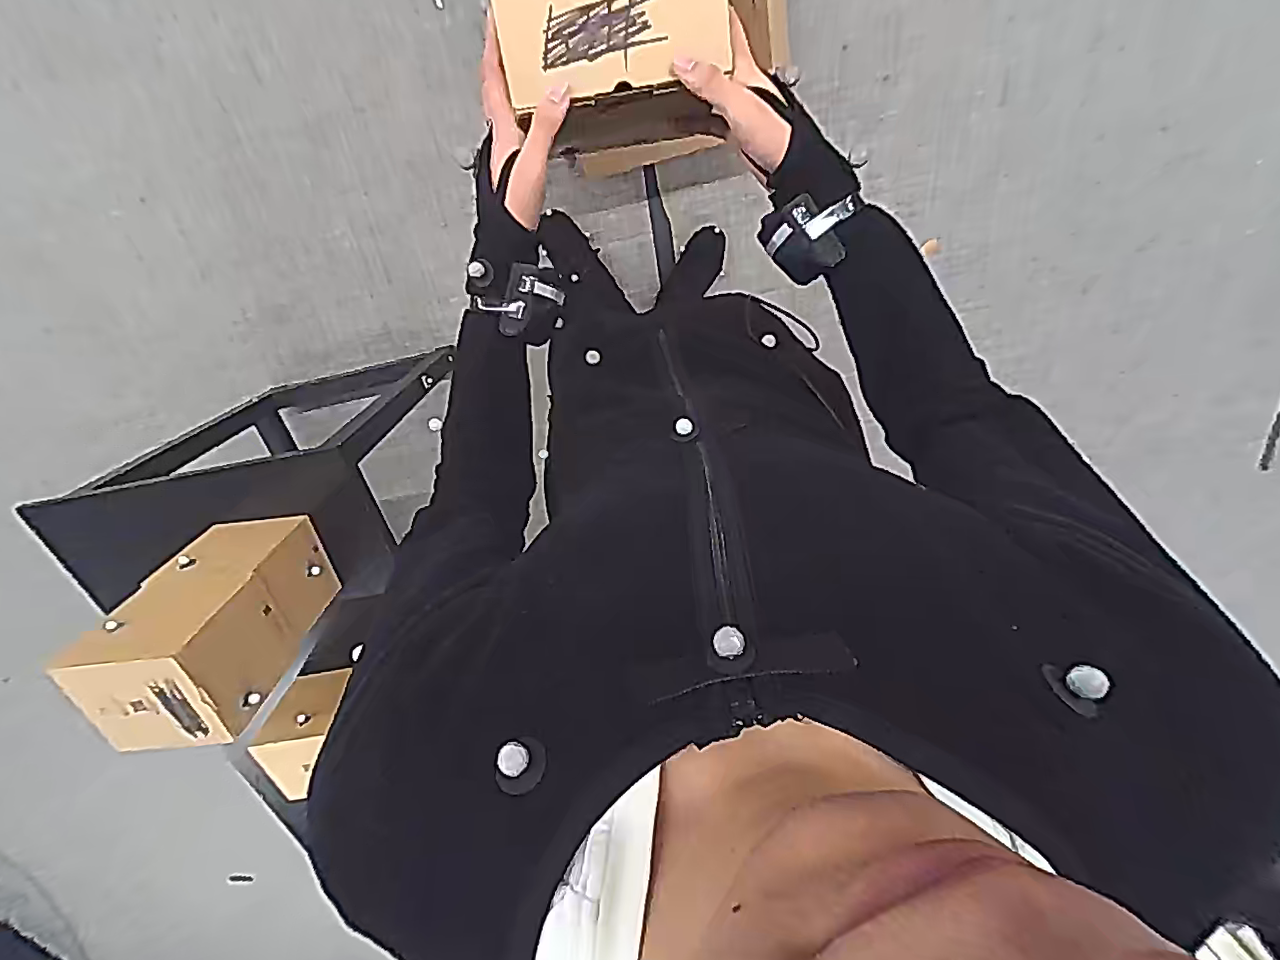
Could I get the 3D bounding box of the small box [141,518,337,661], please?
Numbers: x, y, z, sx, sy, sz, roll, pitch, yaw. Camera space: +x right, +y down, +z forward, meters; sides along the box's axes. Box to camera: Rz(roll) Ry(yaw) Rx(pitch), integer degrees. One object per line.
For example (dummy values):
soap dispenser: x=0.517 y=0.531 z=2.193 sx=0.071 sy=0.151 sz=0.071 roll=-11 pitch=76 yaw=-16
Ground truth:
small box: x=-0.660 y=0.181 z=0.917 sx=0.179 sy=0.176 sz=0.168 roll=-6 pitch=119 yaw=2

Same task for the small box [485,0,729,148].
small box: x=-0.031 y=-0.386 z=0.432 sx=0.168 sy=0.176 sz=0.179 roll=-10 pitch=109 yaw=0

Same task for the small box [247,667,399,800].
small box: x=-0.625 y=0.507 z=1.092 sx=0.179 sy=0.176 sz=0.168 roll=-11 pitch=117 yaw=4
